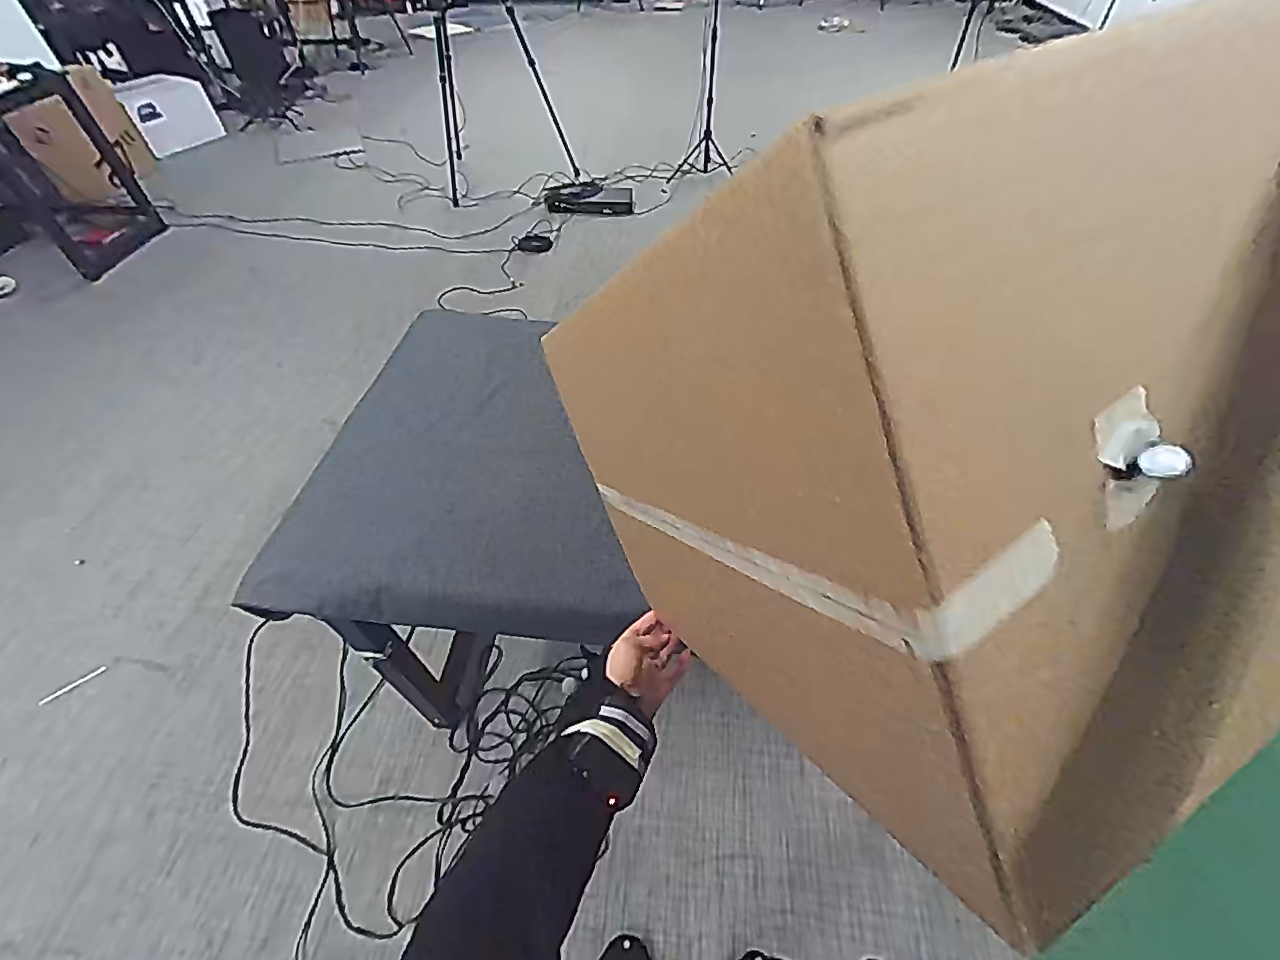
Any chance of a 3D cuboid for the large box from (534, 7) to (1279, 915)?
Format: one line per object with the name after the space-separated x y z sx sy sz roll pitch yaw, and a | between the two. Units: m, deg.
0.155 -0.034 0.405 0.320 0.320 0.408 -26 15 -17 | large box
